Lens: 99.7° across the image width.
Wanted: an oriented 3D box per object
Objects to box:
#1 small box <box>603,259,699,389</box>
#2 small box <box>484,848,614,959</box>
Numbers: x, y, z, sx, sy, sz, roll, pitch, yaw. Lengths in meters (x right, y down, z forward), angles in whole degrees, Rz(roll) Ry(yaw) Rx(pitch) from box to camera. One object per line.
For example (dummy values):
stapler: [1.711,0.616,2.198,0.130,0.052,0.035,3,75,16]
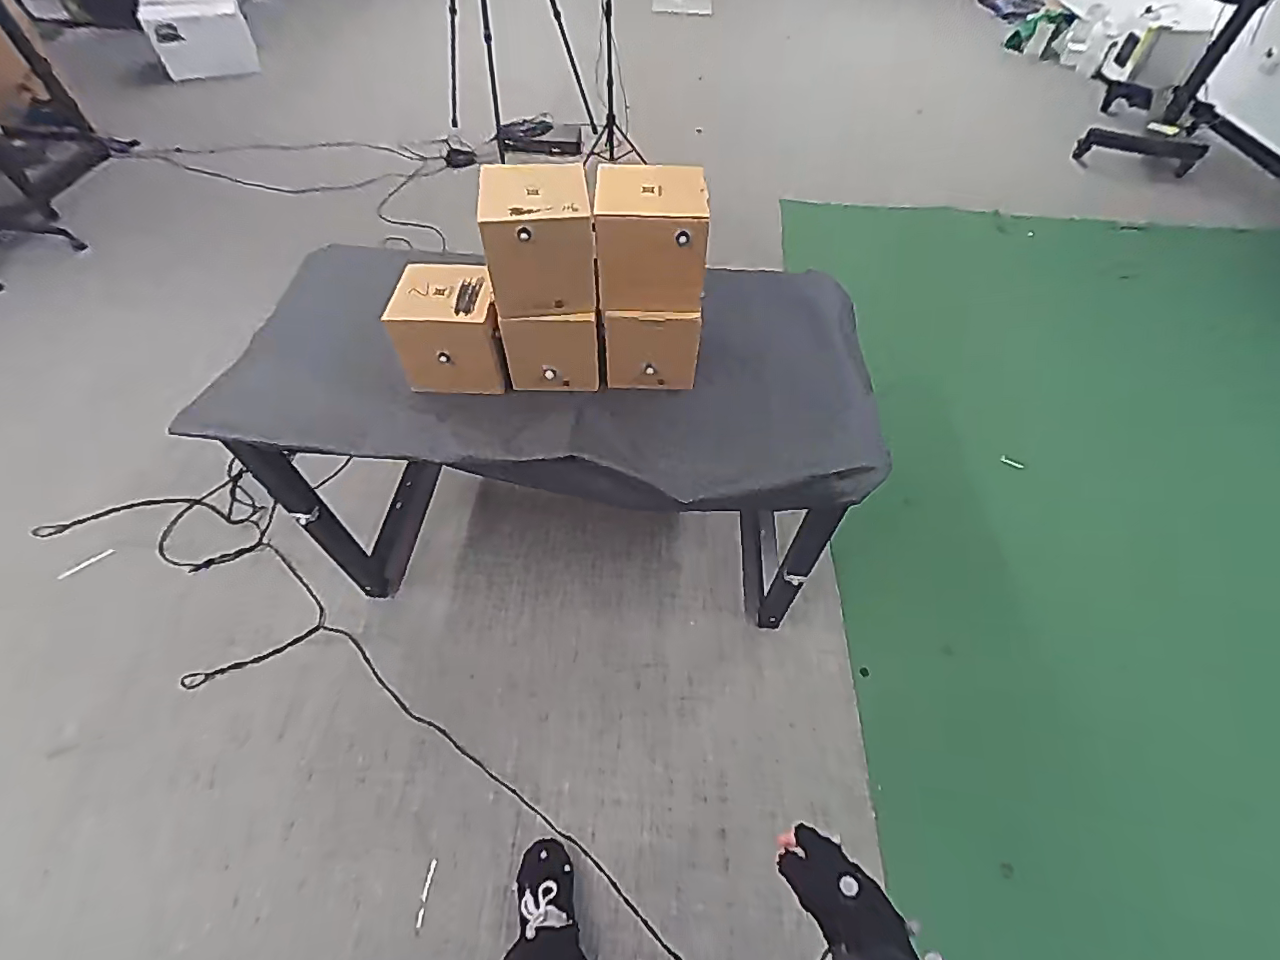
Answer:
small box: [0.020,-0.295,1.027,0.168,0.176,0.179,1,54,0]
small box: [-0.186,0.870,1.085,0.179,0.176,0.168,12,60,31]
